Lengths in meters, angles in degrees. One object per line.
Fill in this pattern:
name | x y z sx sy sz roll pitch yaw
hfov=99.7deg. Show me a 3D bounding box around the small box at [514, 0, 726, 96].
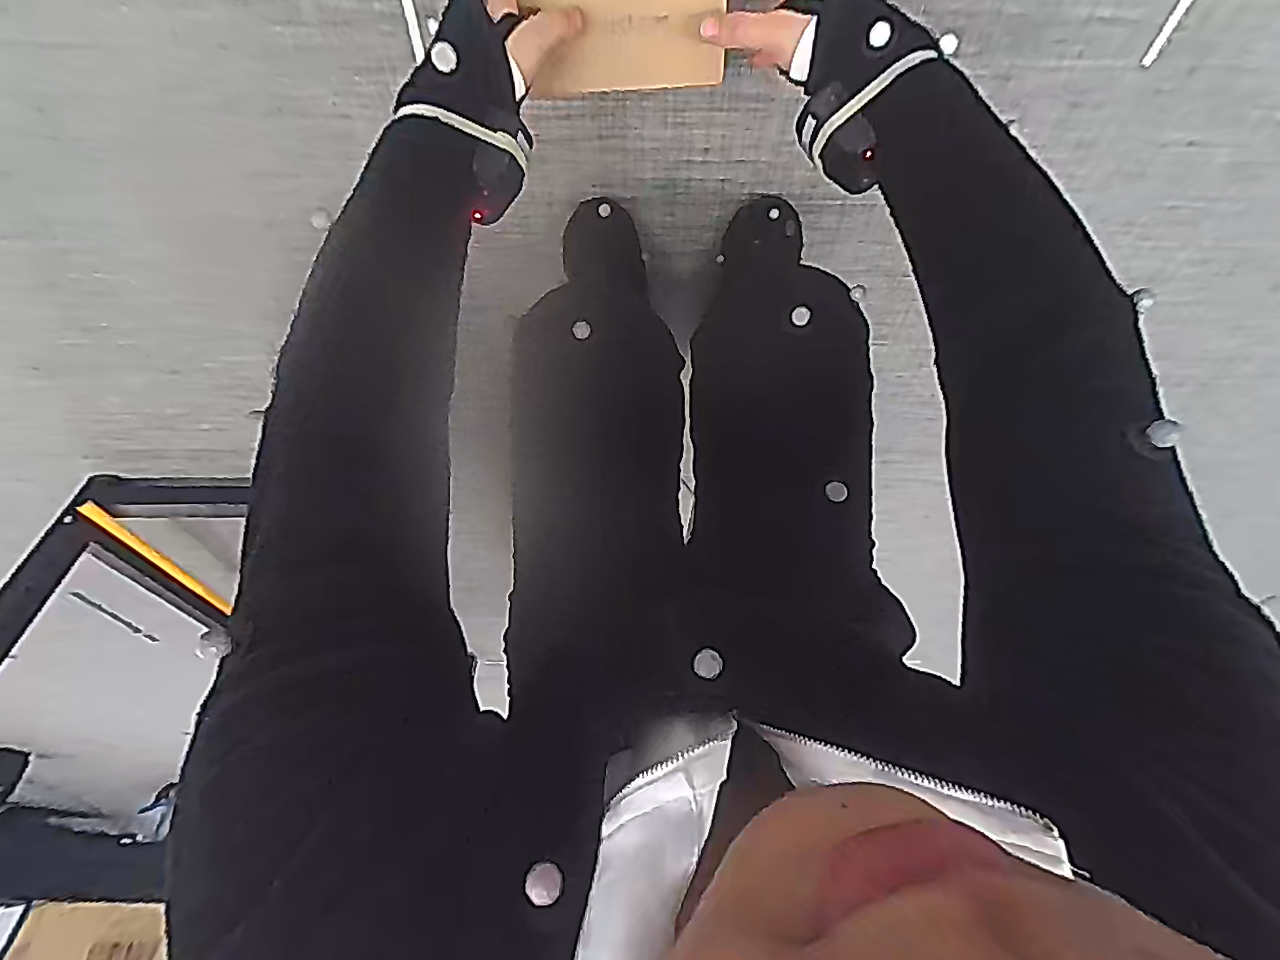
small box | -0.018 -0.443 0.450 0.168 0.176 0.179 -2 134 2
